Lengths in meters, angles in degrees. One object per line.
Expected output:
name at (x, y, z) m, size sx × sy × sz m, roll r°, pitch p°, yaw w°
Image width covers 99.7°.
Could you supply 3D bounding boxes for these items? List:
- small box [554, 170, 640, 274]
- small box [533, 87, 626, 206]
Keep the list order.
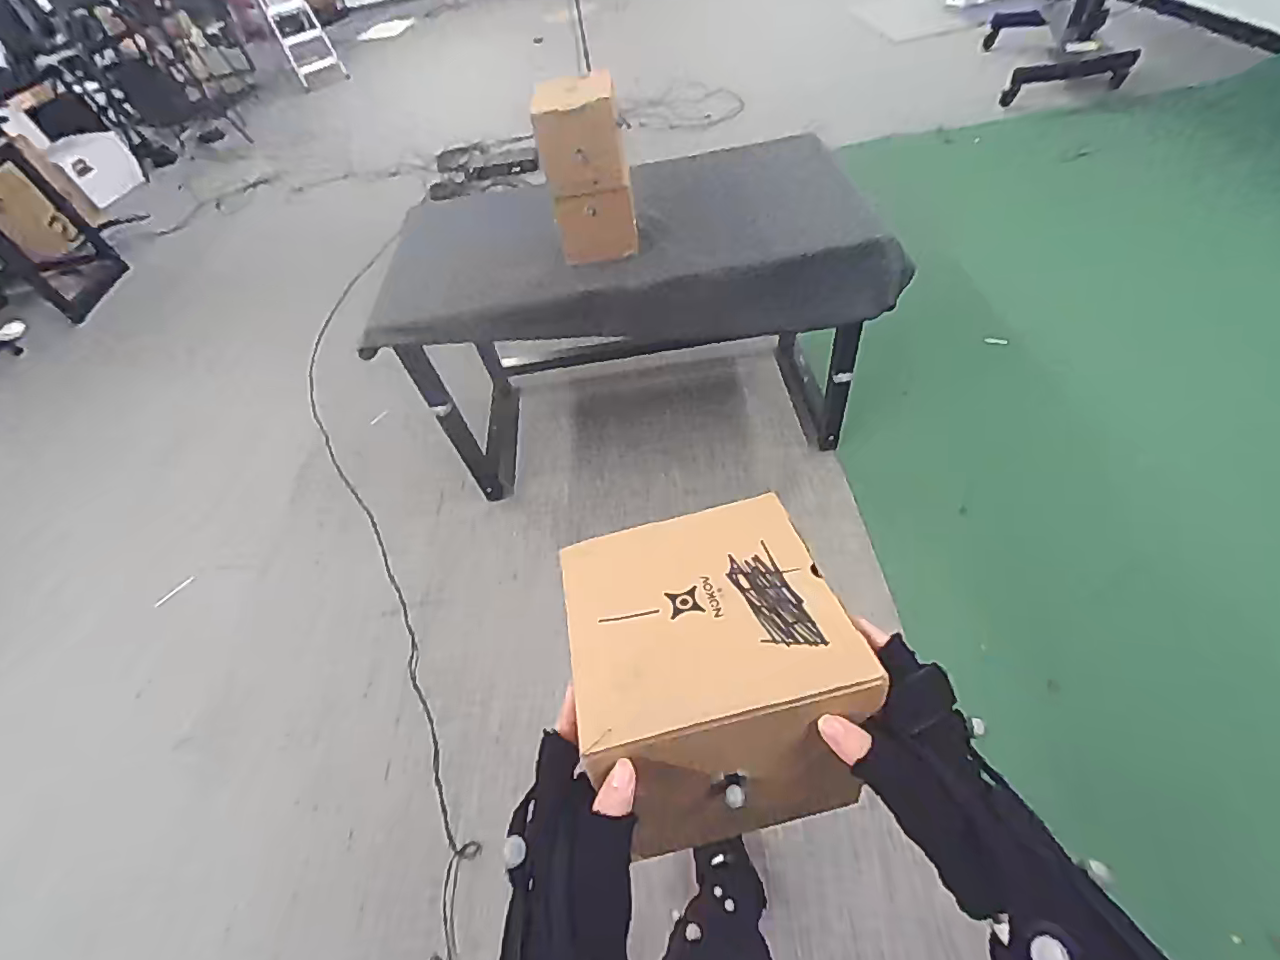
small box at (-0.098, -0.616, 1.304) m, size 0.179 × 0.176 × 0.168 m, roll -6°, pitch 52°, yaw 3°
small box at (-0.123, -0.715, 1.175) m, size 0.168 × 0.176 × 0.179 m, roll -6°, pitch 52°, yaw 5°
